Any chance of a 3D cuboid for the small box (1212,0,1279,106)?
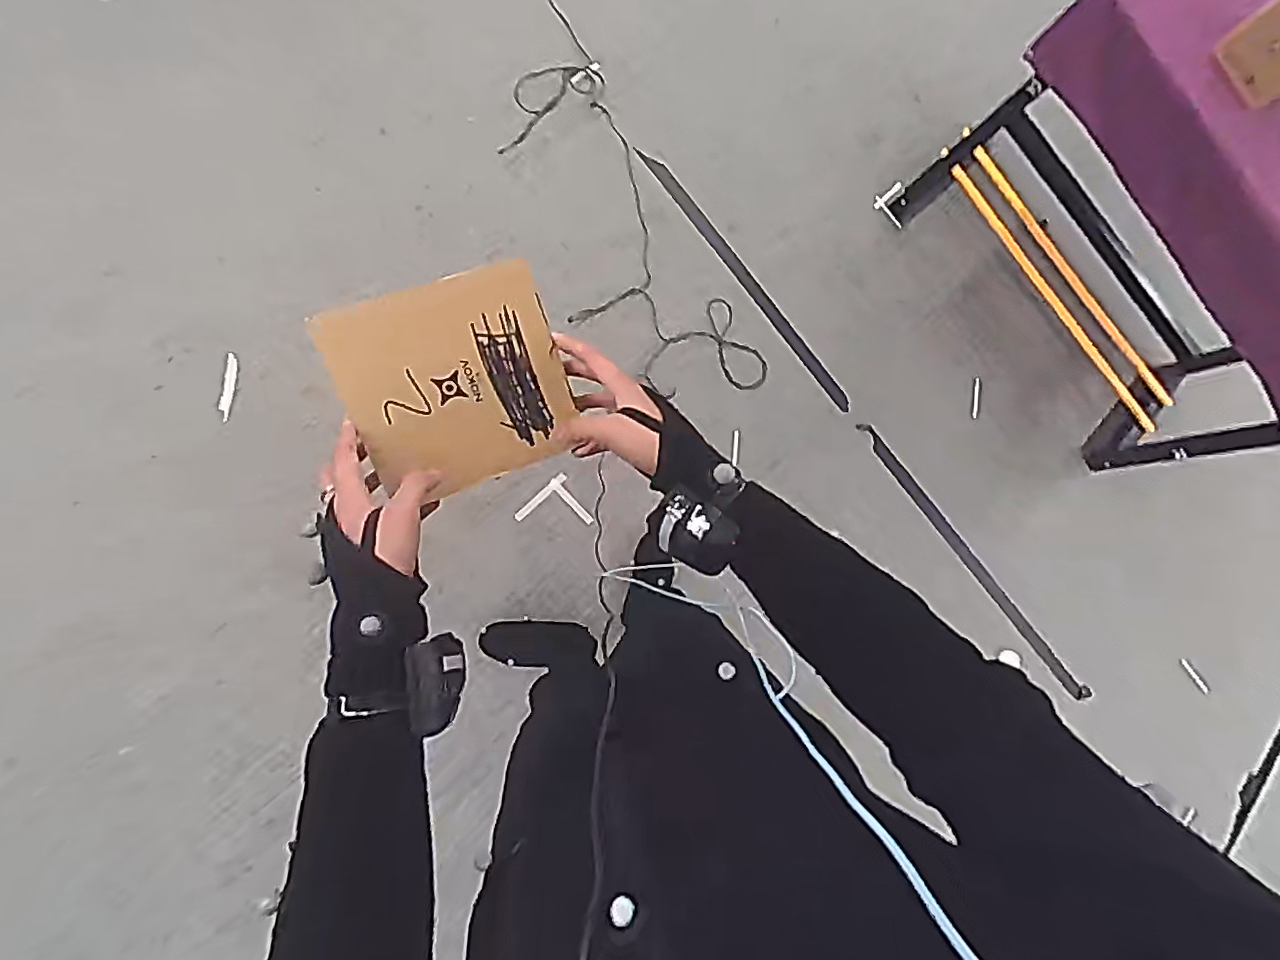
[{"bbox_3d":[1.374,-0.940,1.134,0.179,0.176,0.168,-39,94,-15],"label":"small box"}]
